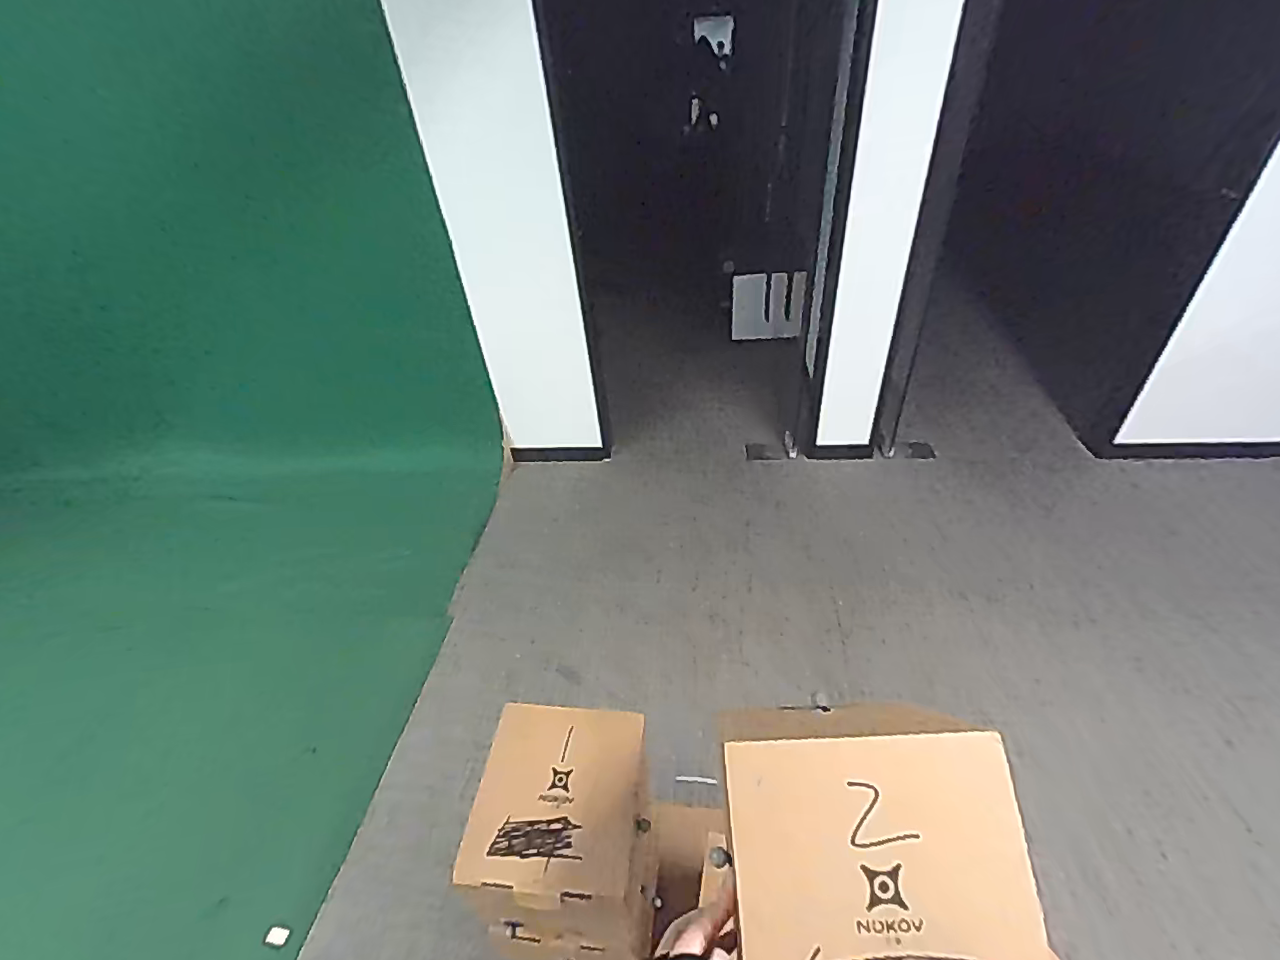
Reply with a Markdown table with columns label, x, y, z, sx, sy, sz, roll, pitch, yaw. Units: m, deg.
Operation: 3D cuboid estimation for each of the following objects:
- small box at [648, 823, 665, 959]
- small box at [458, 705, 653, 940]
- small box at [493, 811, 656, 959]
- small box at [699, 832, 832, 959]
| label | x | y | z | sx | sy | sz | roll | pitch | yaw |
| --- | --- | --- | --- | --- | --- | --- | --- | --- | --- |
| small box | -0.053 | 0.631 | 0.811 | 0.168 | 0.176 | 0.179 | 2 | 39 | 8 |
| small box | -0.075 | 0.379 | 0.602 | 0.168 | 0.176 | 0.179 | 1 | 38 | 6 |
| small box | -0.068 | 0.512 | 0.700 | 0.168 | 0.176 | 0.179 | 1 | 40 | 6 |
| small box | 0.176 | 0.640 | 0.763 | 0.168 | 0.176 | 0.179 | 3 | 39 | 14 |
